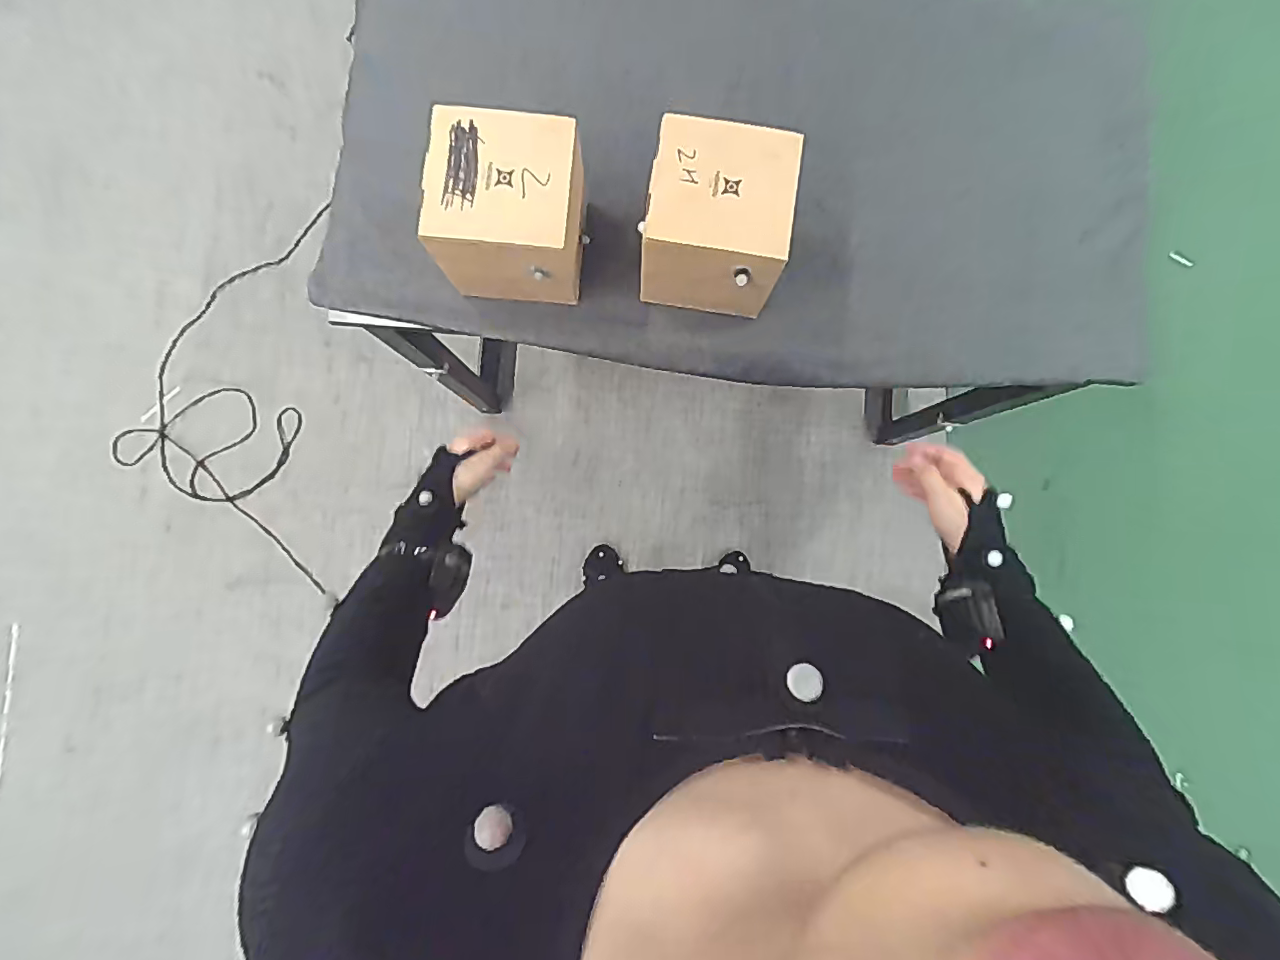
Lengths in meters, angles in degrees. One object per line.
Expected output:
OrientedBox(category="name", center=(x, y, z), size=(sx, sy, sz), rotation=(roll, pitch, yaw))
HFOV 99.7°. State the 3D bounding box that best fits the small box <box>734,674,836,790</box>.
OrientedBox(category="small box", center=(0.357, 0.631, 1.376), size=(0.168, 0.176, 0.179), rotation=(42, 86, 3))
